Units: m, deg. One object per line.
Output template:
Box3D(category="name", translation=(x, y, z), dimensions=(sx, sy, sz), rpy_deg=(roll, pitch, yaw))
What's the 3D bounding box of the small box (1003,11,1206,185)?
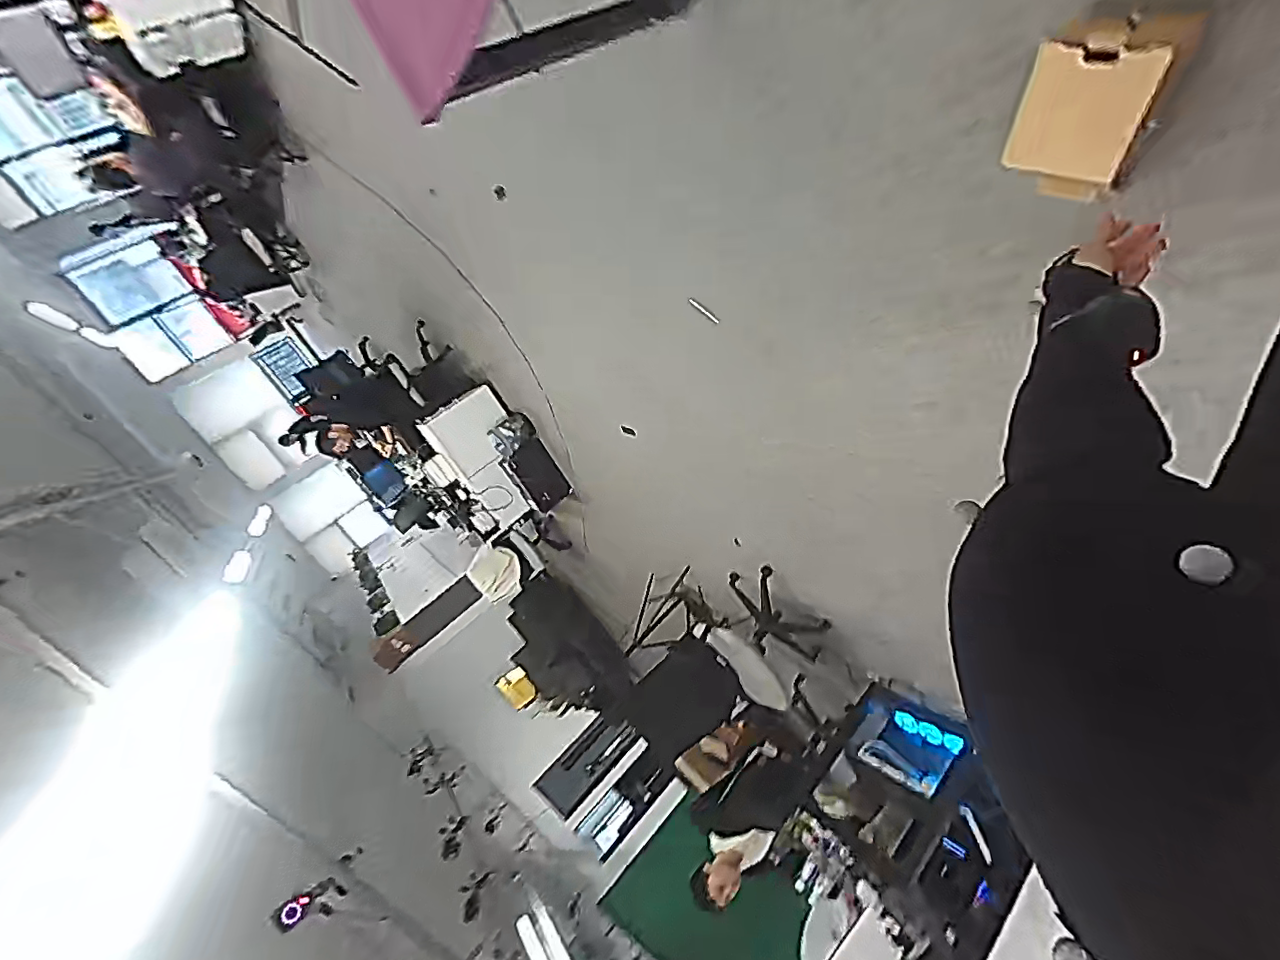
Box3D(category="small box", translation=(0.722, -0.600, 0.849), dimensions=(0.168, 0.176, 0.179), rpy_deg=(34, 152, 32))
